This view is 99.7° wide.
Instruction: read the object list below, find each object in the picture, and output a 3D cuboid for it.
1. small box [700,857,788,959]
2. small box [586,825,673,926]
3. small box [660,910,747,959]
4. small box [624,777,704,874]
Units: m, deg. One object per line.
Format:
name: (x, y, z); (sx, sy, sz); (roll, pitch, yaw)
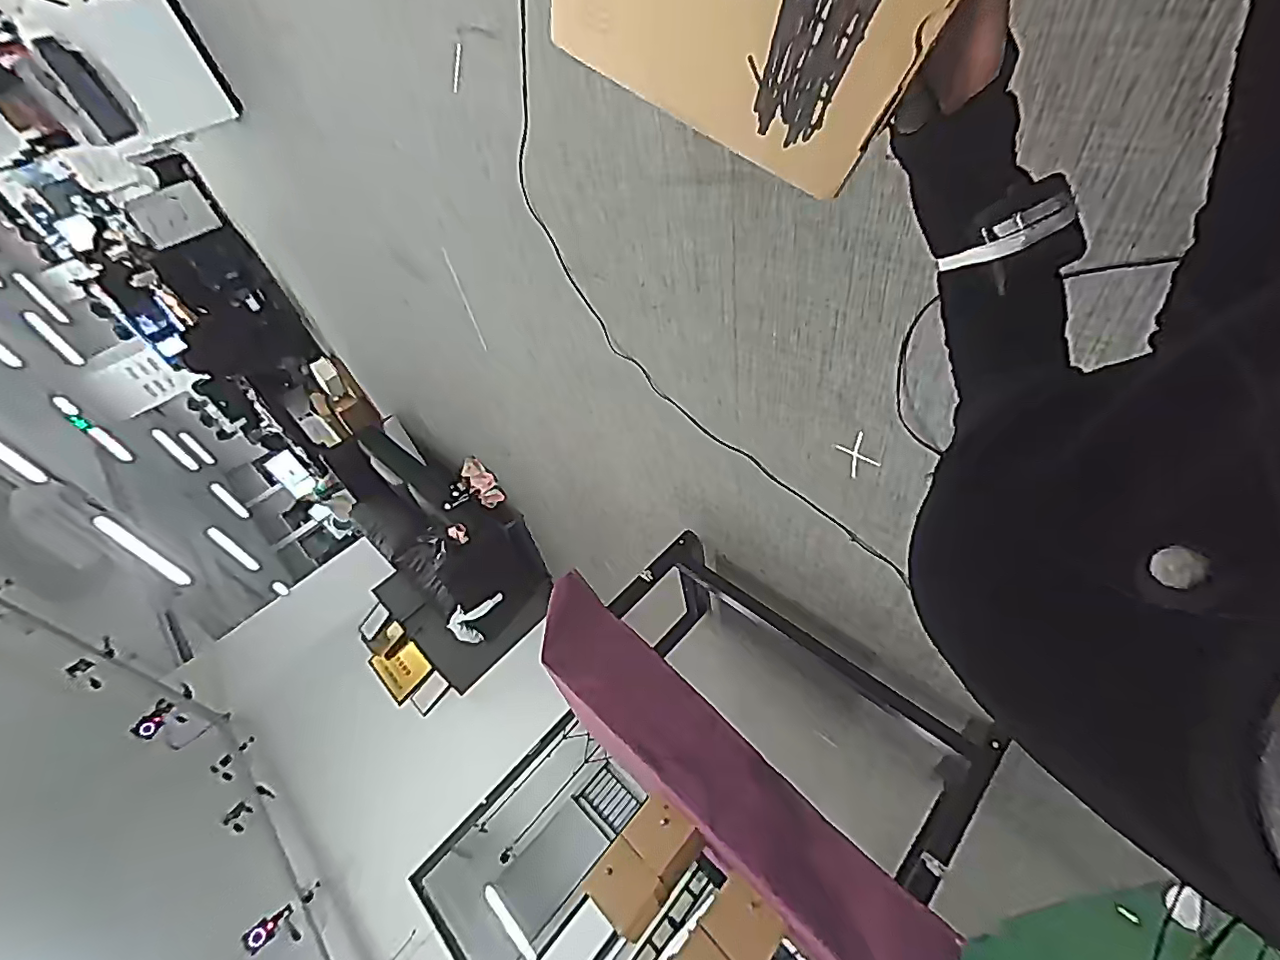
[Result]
small box: (0.292, 1.196, 1.511); (0.179, 0.176, 0.168); (30, 150, 36)
small box: (-0.028, 1.171, 1.616); (0.179, 0.176, 0.168); (27, 149, 38)
small box: (0.179, 1.295, 1.445); (0.179, 0.176, 0.168); (29, 149, 35)
small box: (0.083, 1.074, 1.686); (0.168, 0.176, 0.179); (26, 147, 40)
